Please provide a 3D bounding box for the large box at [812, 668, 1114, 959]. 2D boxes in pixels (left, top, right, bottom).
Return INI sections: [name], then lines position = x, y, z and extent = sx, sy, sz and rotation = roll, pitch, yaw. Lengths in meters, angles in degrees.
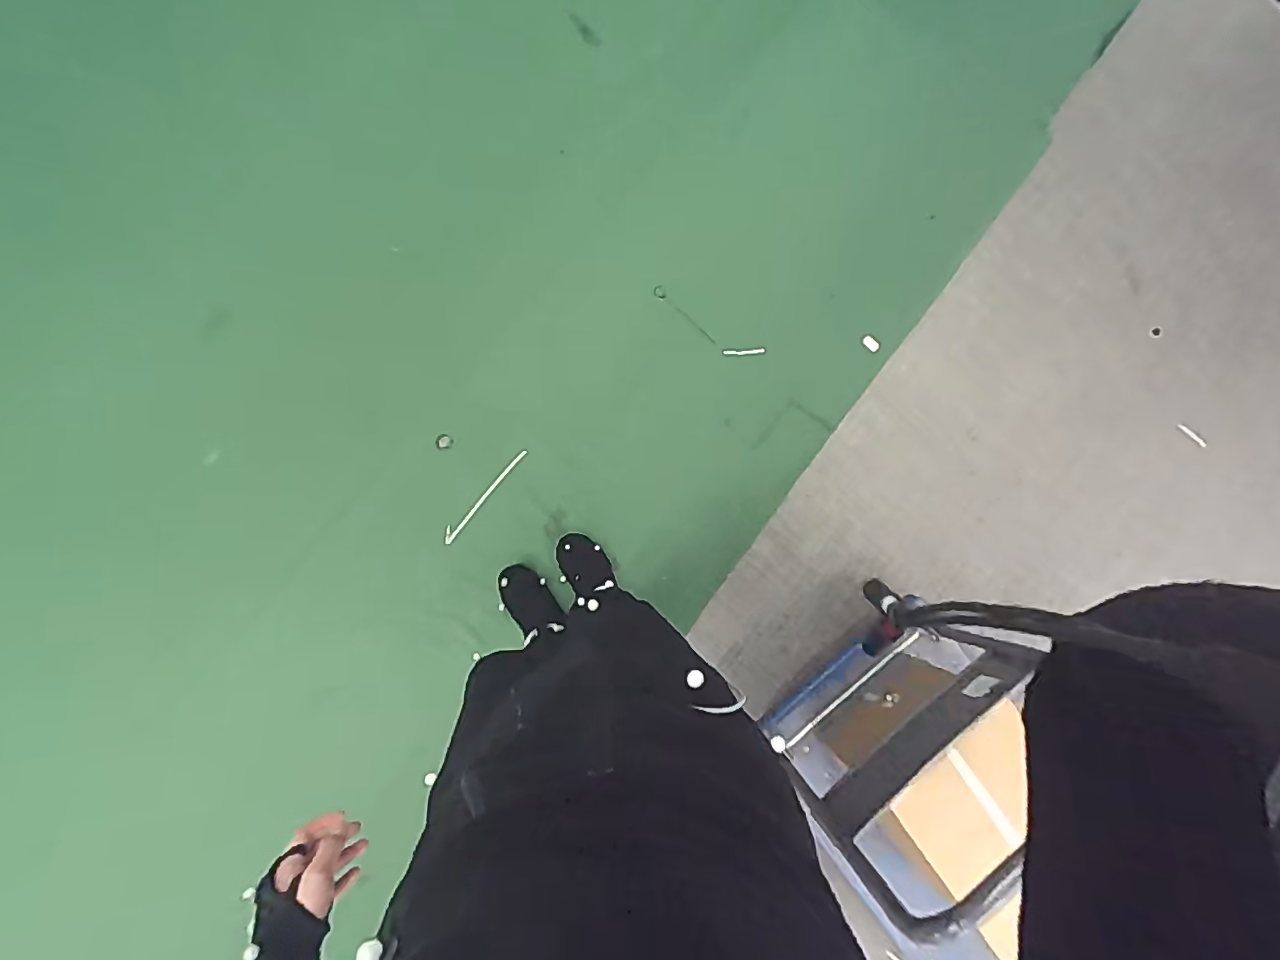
[large box]
position = 0.656, 0.691, 1.164
extent = 0.320, 0.320, 0.408
rotation = -35, 89, -7
